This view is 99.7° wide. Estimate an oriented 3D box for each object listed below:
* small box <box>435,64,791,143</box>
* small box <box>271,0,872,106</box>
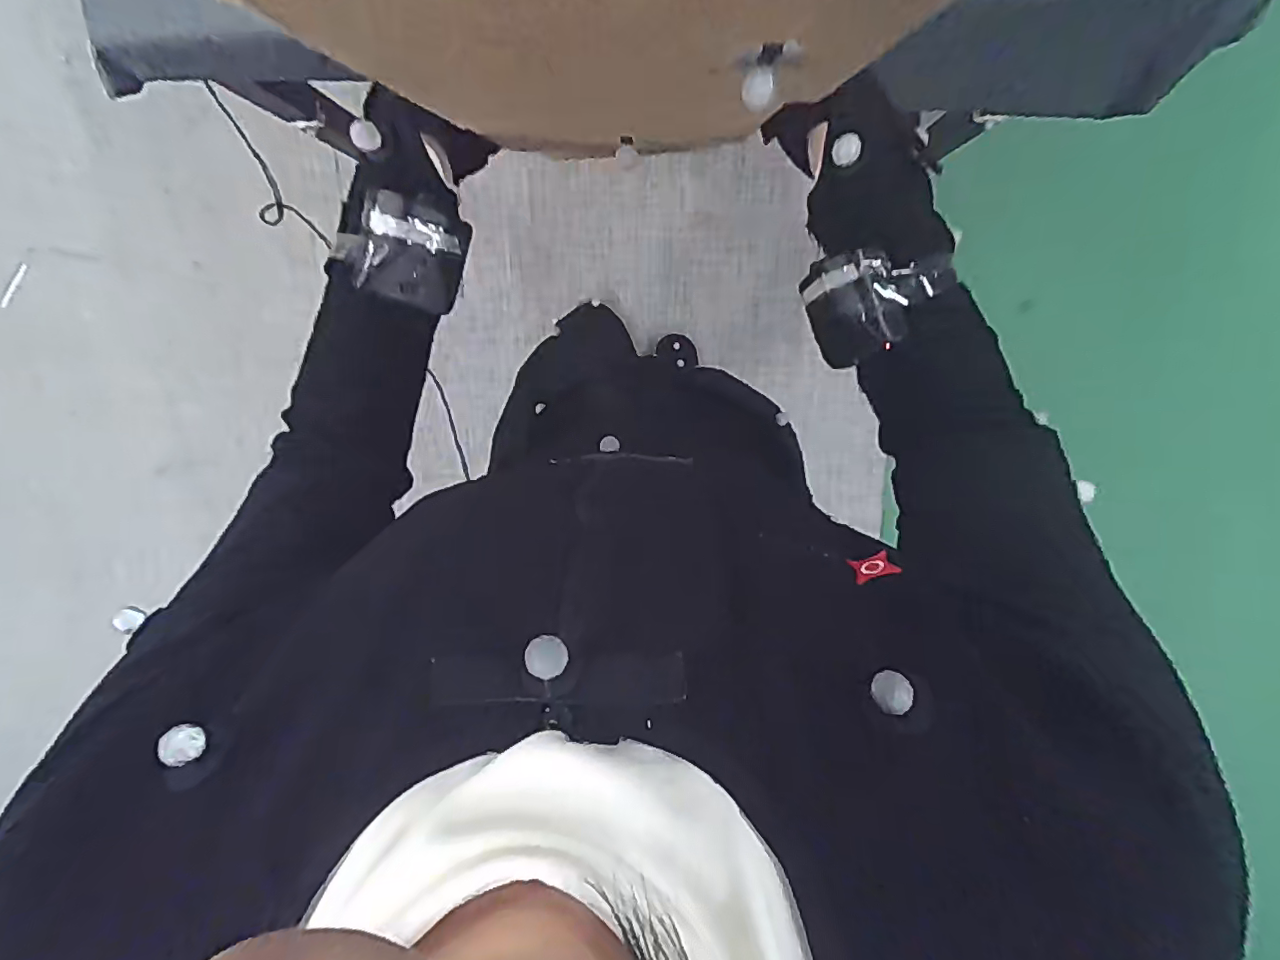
[{"bbox_3d":[-0.018,-0.297,0.297,0.179,0.176,0.168,-4,115,4],"label":"small box"},{"bbox_3d":[-0.012,-0.223,0.151,0.179,0.176,0.168,-3,114,4],"label":"small box"}]
